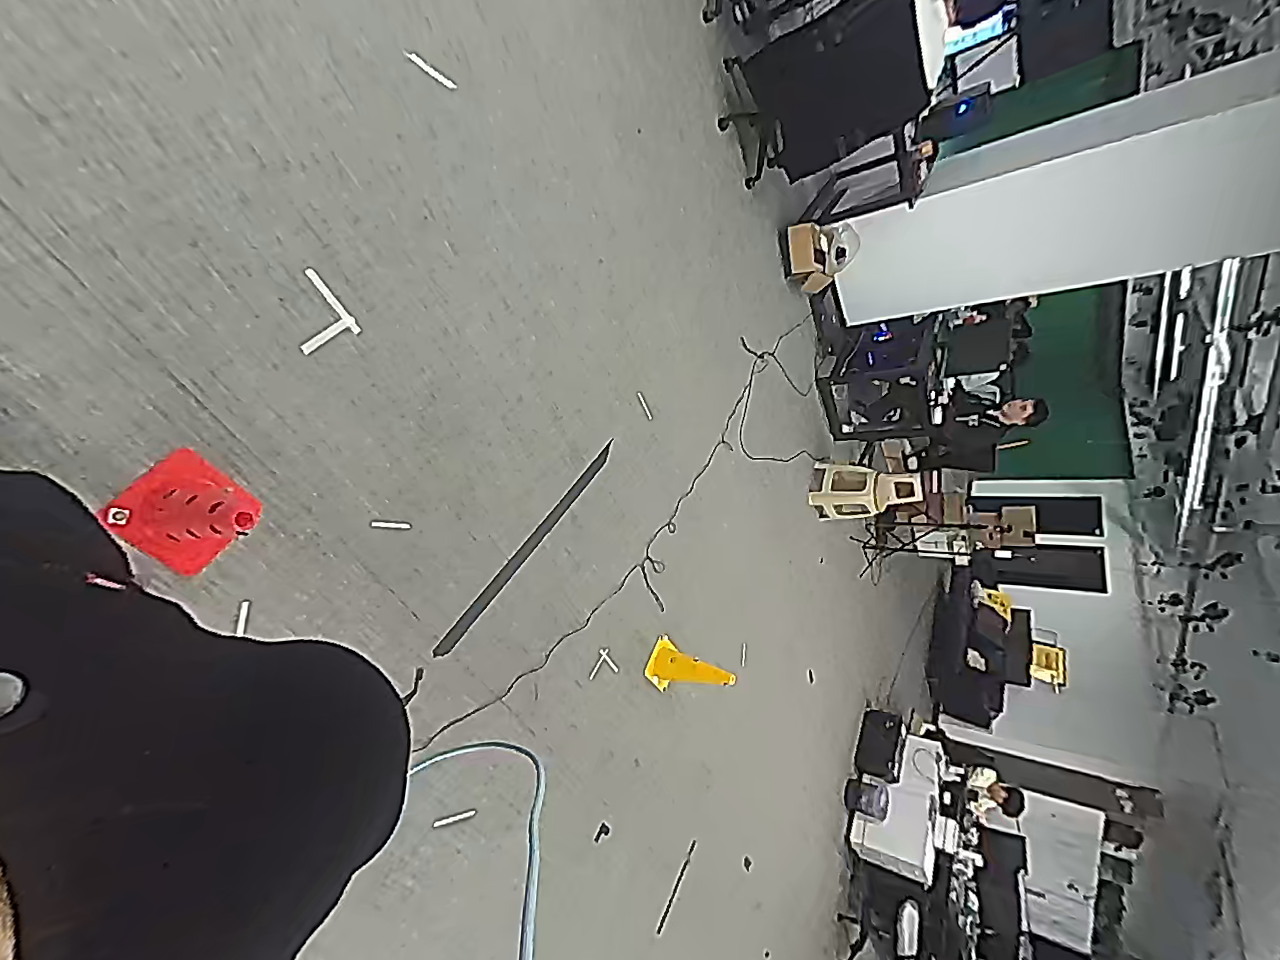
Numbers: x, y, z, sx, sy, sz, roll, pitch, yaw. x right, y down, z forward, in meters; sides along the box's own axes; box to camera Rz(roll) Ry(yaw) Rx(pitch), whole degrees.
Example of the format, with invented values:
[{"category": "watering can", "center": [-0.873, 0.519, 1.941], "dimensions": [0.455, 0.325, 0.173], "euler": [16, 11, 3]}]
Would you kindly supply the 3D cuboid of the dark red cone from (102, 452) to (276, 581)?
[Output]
[{"category": "dark red cone", "center": [-0.763, 0.072, 0.979], "dimensions": [0.201, 0.394, 0.202], "euler": [57, 48, -37]}]
